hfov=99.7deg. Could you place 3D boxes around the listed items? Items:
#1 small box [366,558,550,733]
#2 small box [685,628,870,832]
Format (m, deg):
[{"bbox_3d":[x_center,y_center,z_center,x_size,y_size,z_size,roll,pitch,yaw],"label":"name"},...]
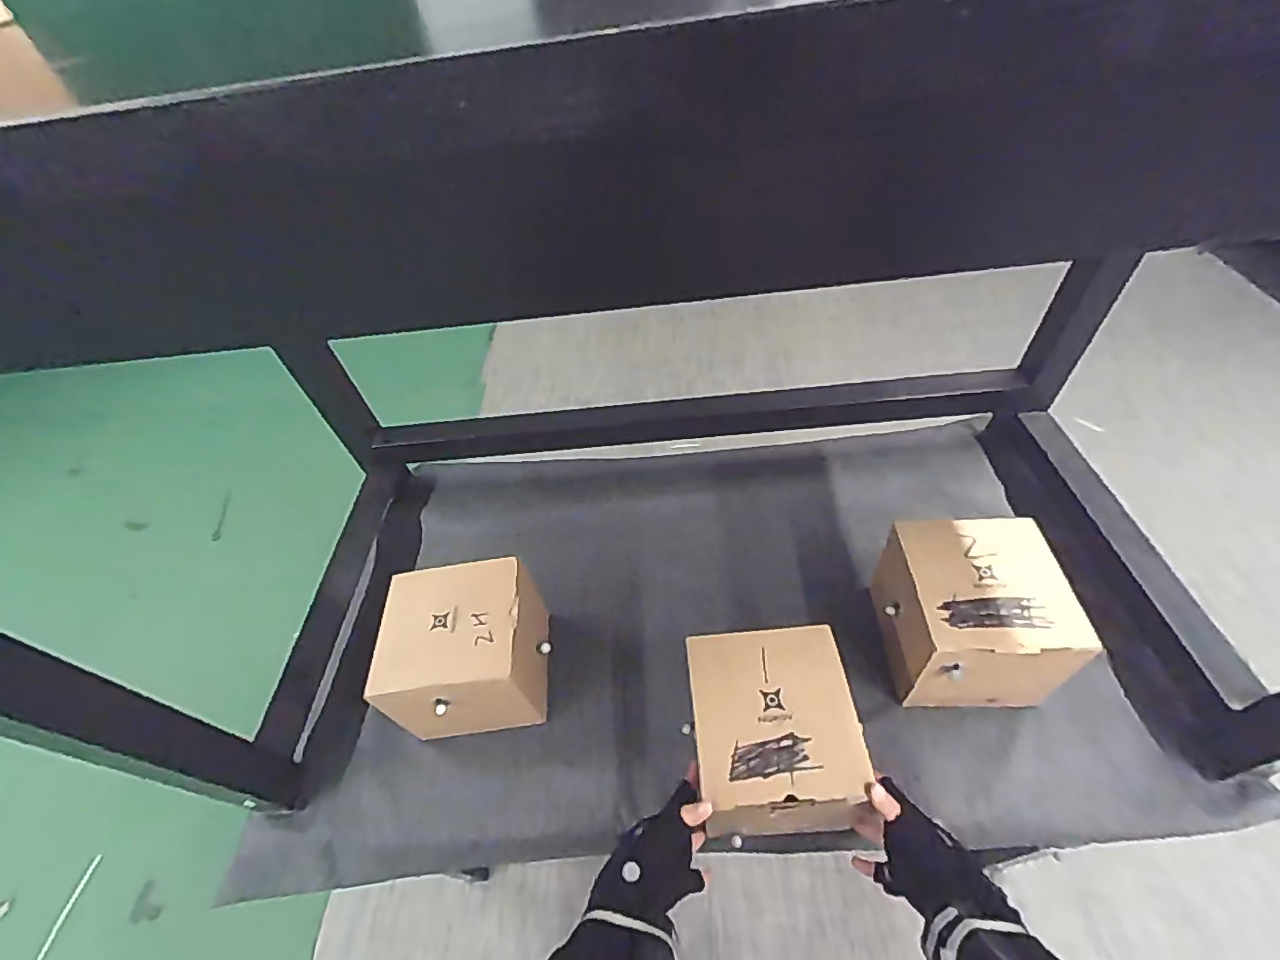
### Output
[{"bbox_3d":[-0.231,0.229,0.735,0.179,0.176,0.168,-8,49,1],"label":"small box"},{"bbox_3d":[0.143,0.292,0.622,0.168,0.176,0.179,-5,48,3],"label":"small box"}]
